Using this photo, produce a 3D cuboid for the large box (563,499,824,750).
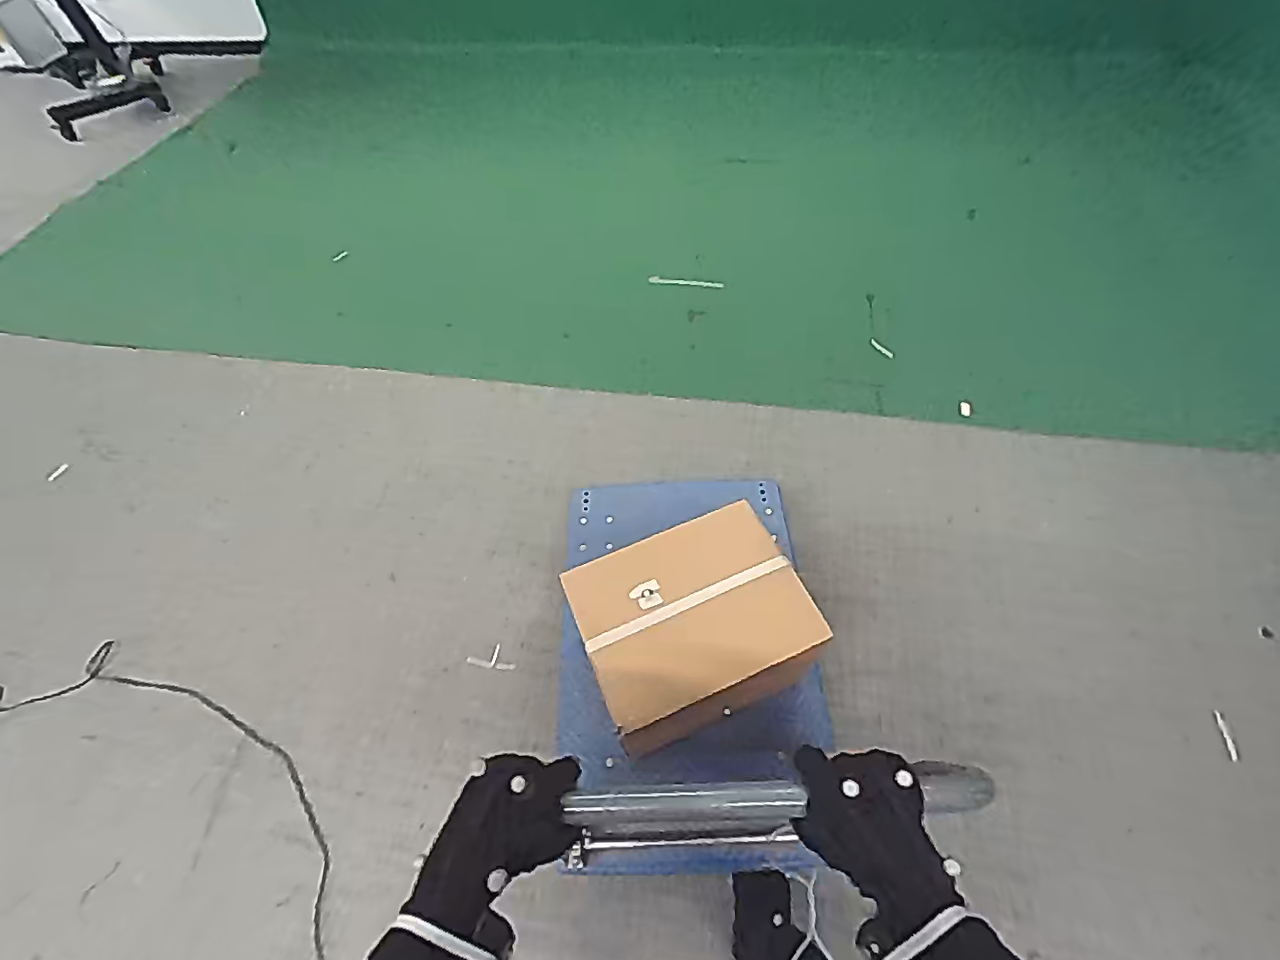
[{"bbox_3d":[0.100,0.305,1.124,0.408,0.320,0.320,-22,57,-10],"label":"large box"}]
